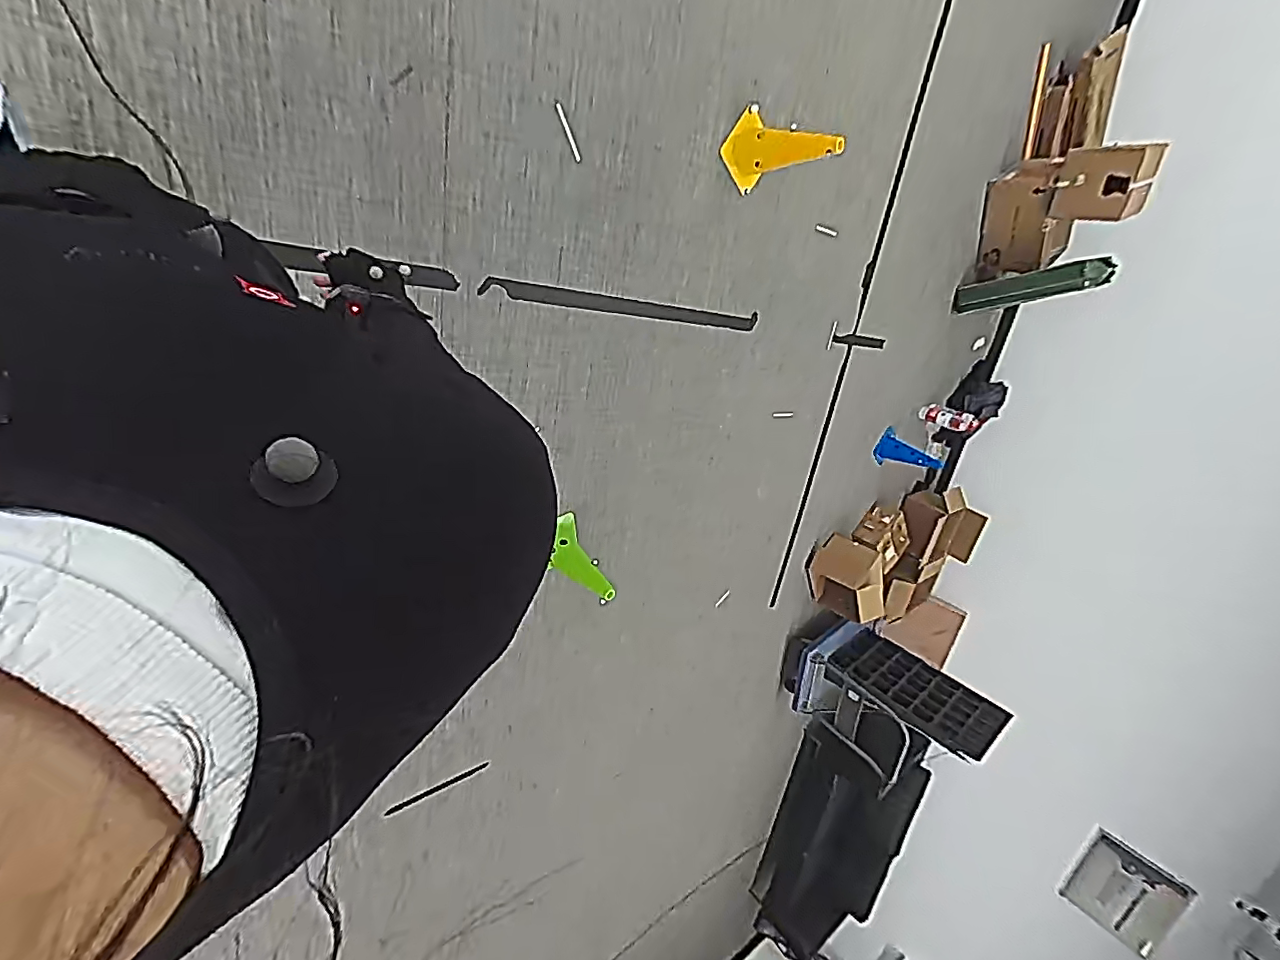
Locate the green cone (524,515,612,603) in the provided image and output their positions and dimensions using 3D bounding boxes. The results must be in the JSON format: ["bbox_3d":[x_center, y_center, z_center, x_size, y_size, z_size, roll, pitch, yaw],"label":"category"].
[{"bbox_3d":[-0.209,0.299,1.814,0.202,0.368,0.200,-24,126,-31],"label":"green cone"}]
